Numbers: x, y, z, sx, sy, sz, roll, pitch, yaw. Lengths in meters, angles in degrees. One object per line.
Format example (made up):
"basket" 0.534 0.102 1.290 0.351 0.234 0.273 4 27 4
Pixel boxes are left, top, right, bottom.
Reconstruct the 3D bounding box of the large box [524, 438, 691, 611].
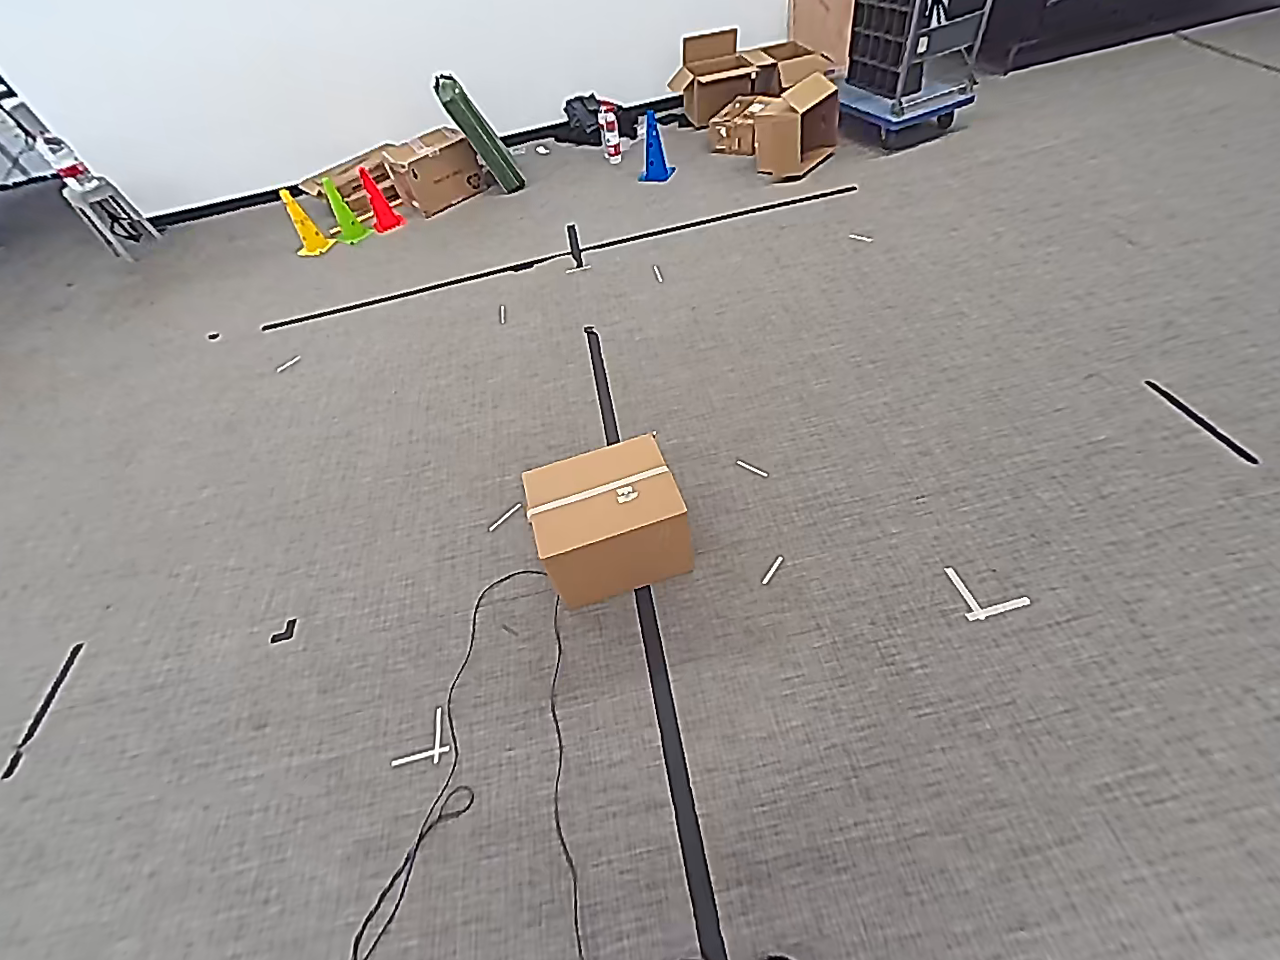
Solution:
"large box" -0.089 0.135 1.603 0.408 0.320 0.320 -17 51 -5
